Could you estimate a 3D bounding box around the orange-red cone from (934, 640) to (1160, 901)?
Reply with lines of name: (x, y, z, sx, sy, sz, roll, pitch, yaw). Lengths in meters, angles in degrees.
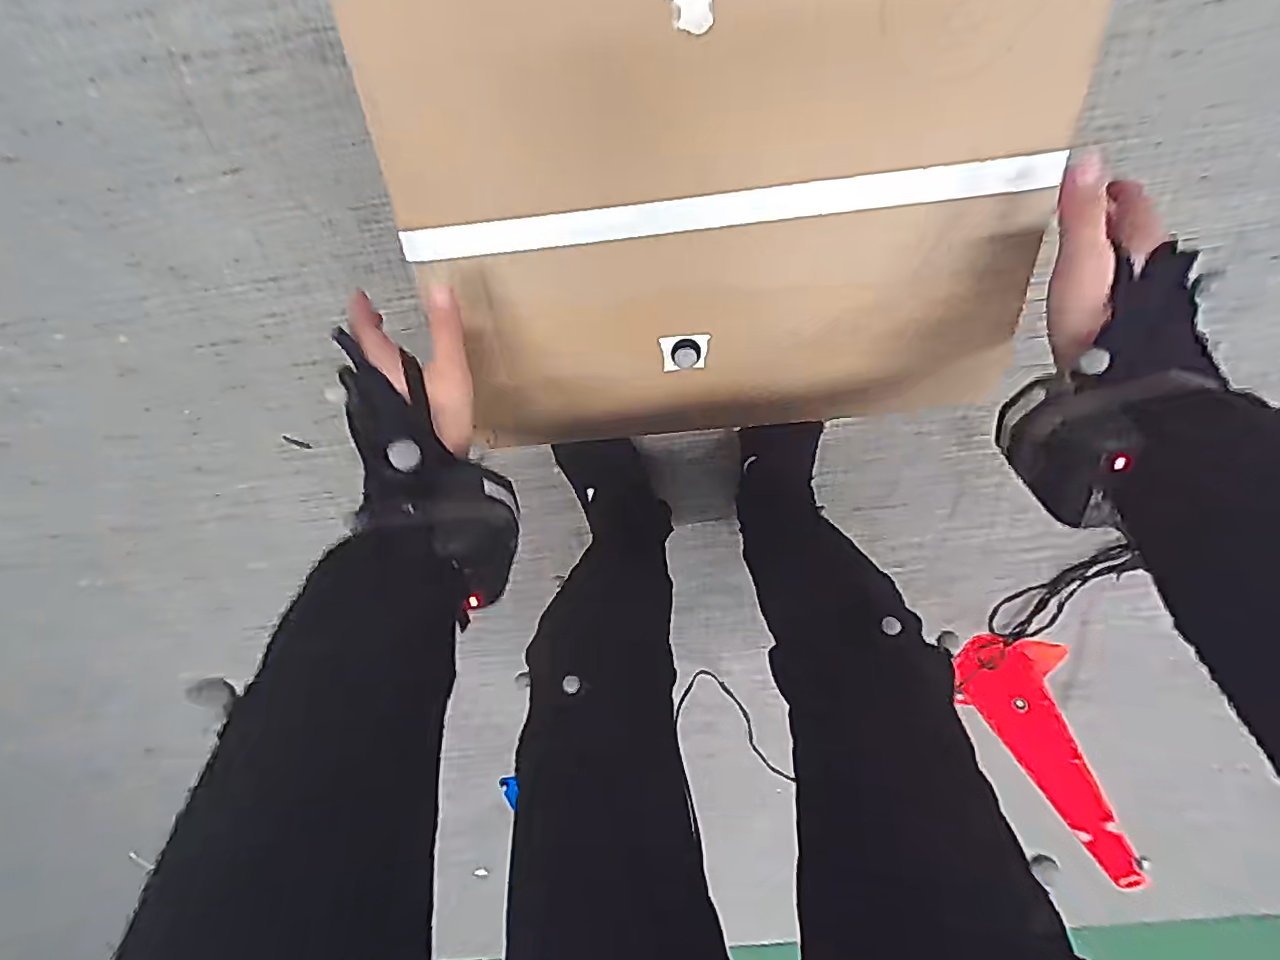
orange-red cone: (0.690, 0.470, 0.886, 0.199, 0.360, 0.198, 10, 123, -8)
